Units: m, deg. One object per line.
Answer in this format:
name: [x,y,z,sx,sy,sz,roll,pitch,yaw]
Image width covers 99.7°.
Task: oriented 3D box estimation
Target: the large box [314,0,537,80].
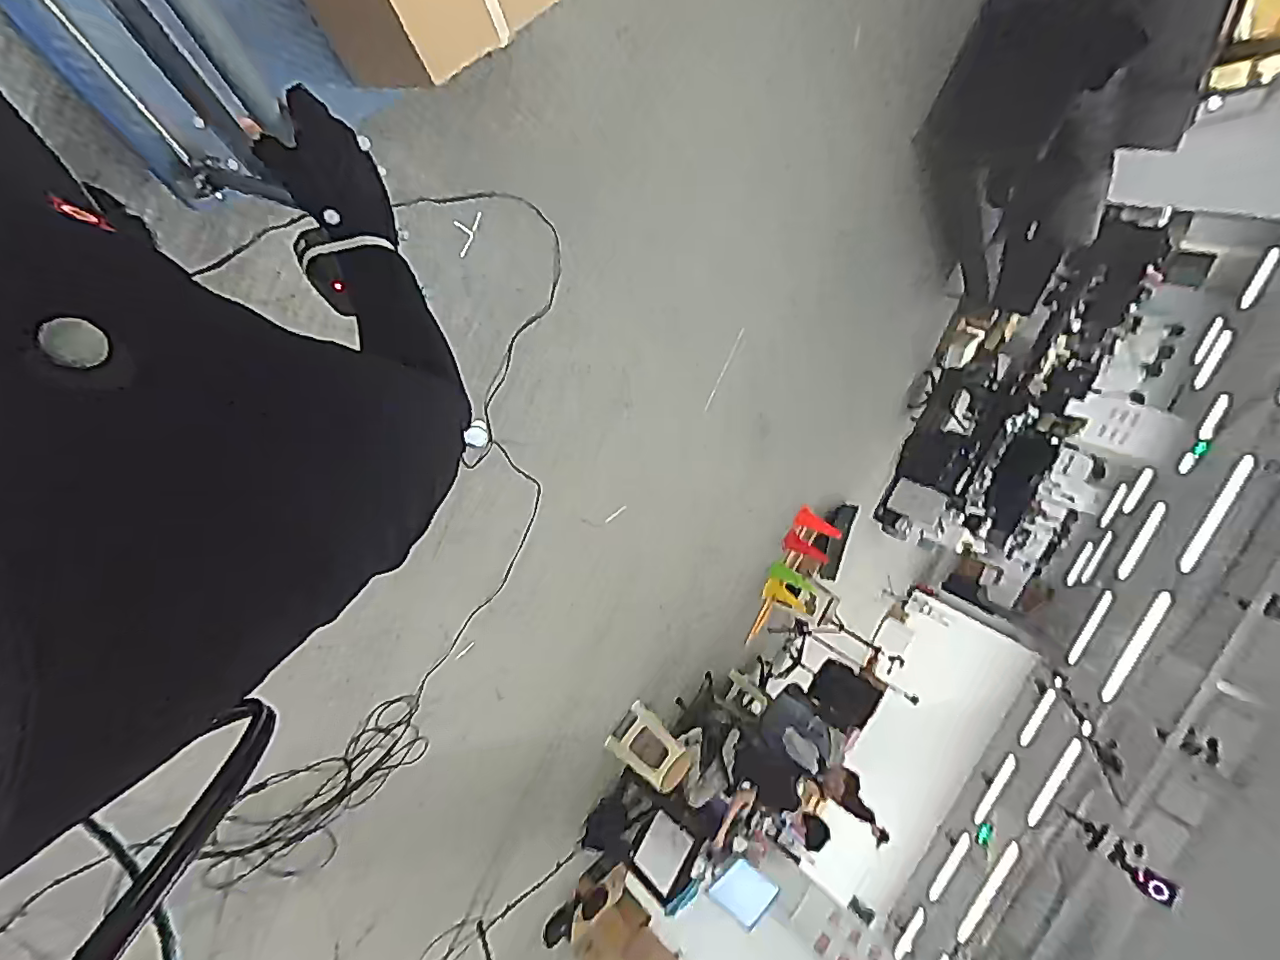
large box: [-0.403,-0.933,0.850,0.320,0.320,0.408,-50,143,-15]
